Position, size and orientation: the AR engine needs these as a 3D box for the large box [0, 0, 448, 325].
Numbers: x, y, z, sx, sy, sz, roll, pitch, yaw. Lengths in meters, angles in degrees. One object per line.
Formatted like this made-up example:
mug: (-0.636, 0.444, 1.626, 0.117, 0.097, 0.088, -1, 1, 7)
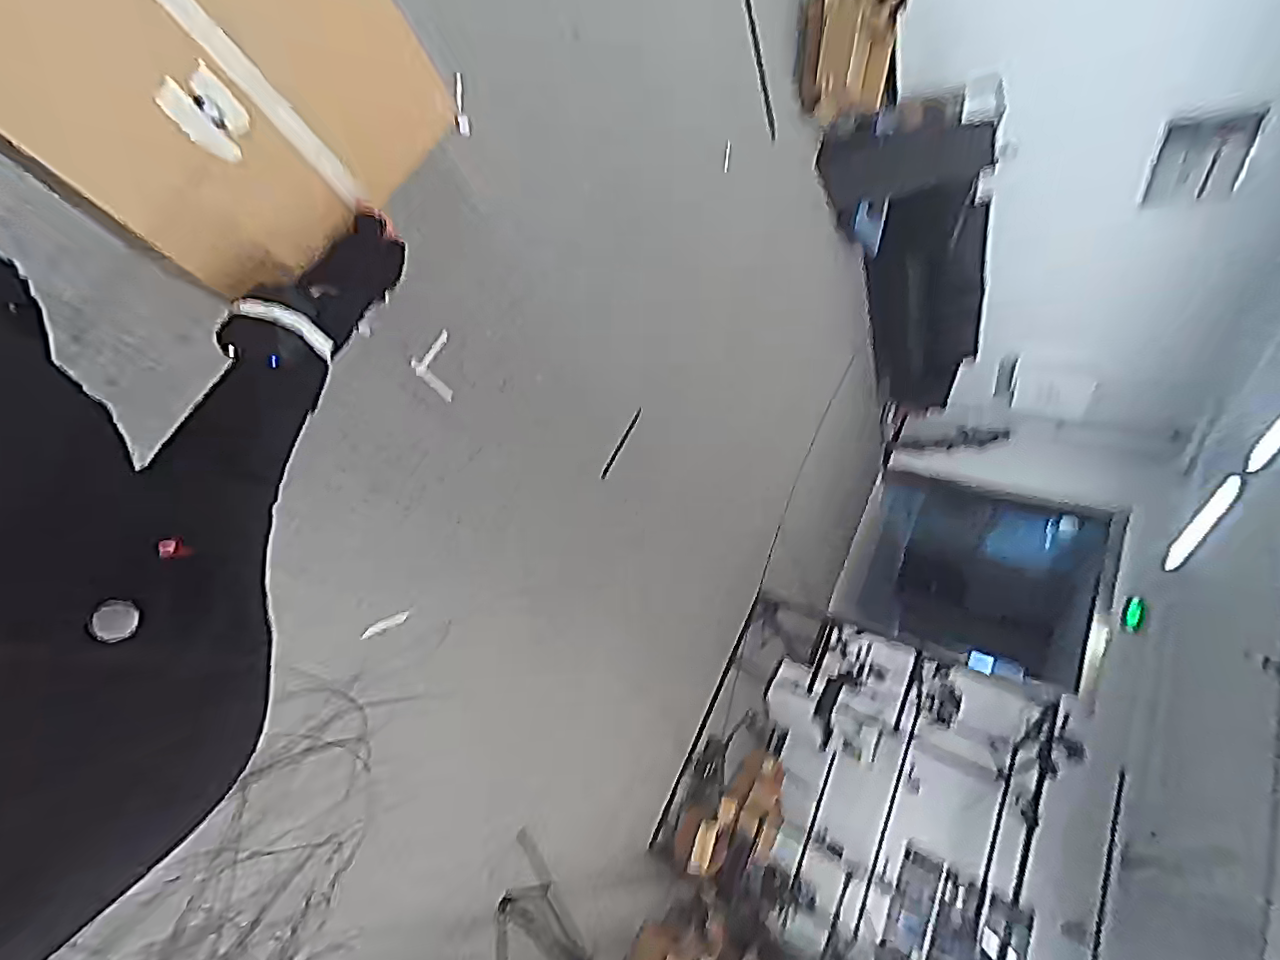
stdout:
large box: (-0.478, -0.417, 0.487, 0.320, 0.320, 0.408, -55, 147, -12)
